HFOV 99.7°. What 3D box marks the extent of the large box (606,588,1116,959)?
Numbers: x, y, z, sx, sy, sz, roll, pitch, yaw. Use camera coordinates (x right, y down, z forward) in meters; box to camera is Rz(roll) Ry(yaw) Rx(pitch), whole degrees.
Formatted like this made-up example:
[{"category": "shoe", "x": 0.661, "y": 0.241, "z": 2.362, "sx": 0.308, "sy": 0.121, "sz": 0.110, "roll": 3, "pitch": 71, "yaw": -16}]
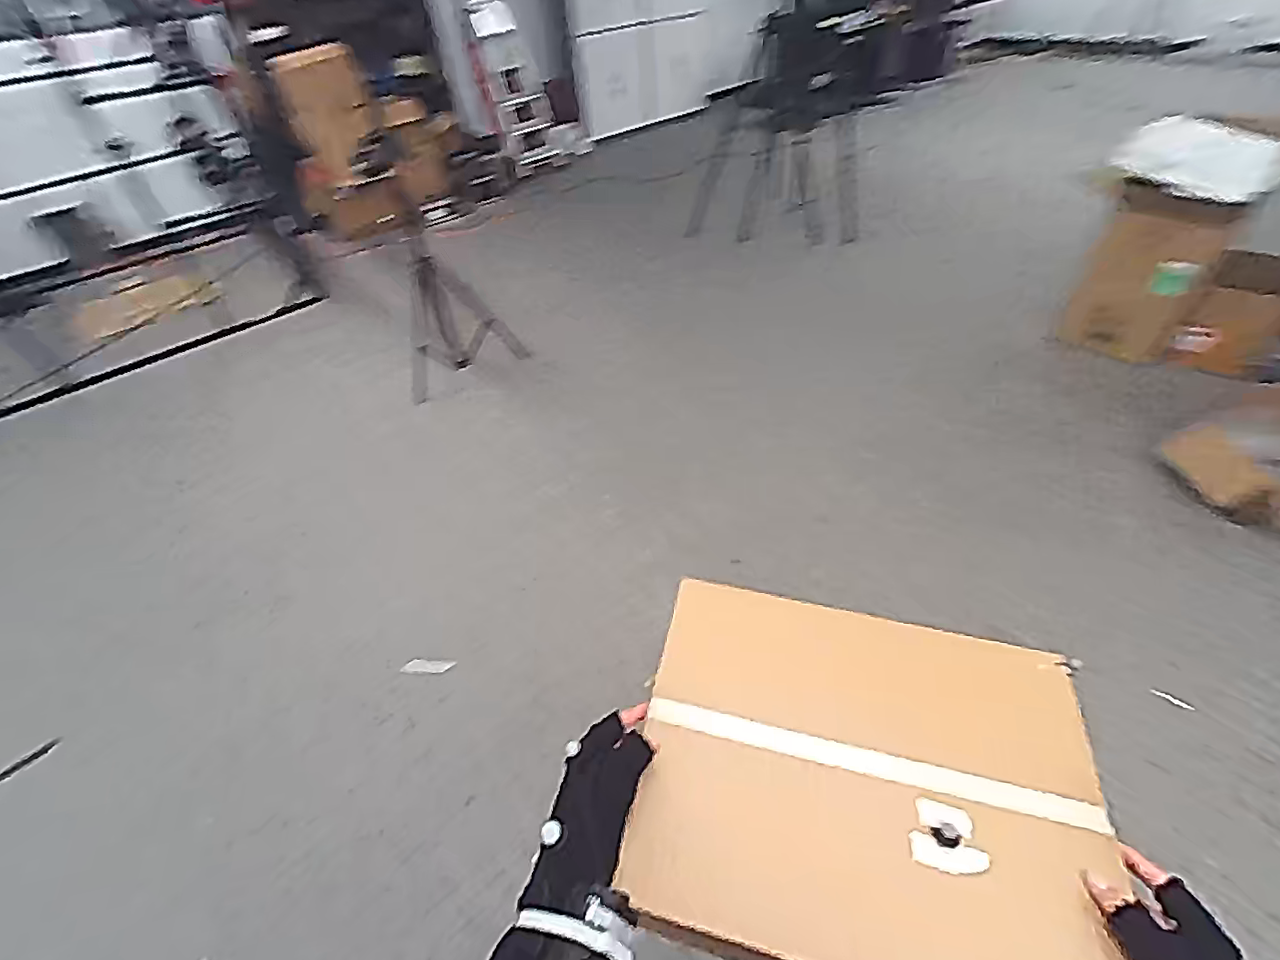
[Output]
[{"category": "large box", "x": 0.200, "y": 0.367, "z": 0.624, "sx": 0.408, "sy": 0.320, "sz": 0.320, "roll": 9, "pitch": 49, "yaw": 11}]
